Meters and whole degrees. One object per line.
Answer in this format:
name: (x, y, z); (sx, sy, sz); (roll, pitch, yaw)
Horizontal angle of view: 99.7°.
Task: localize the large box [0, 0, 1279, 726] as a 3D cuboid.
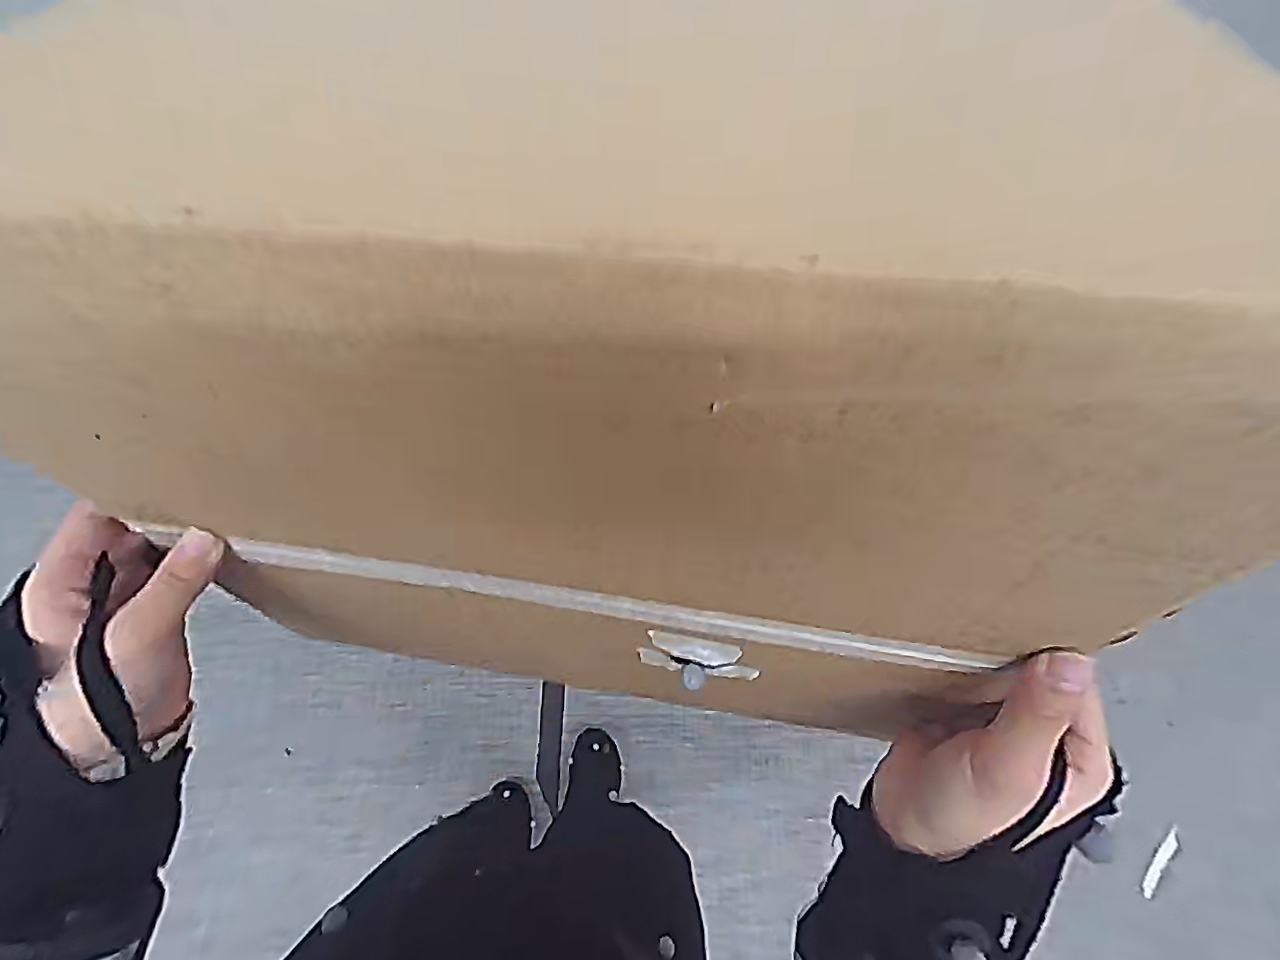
large box: (-0.015, -0.079, 0.322); (0.408, 0.320, 0.320); (7, 56, 7)
